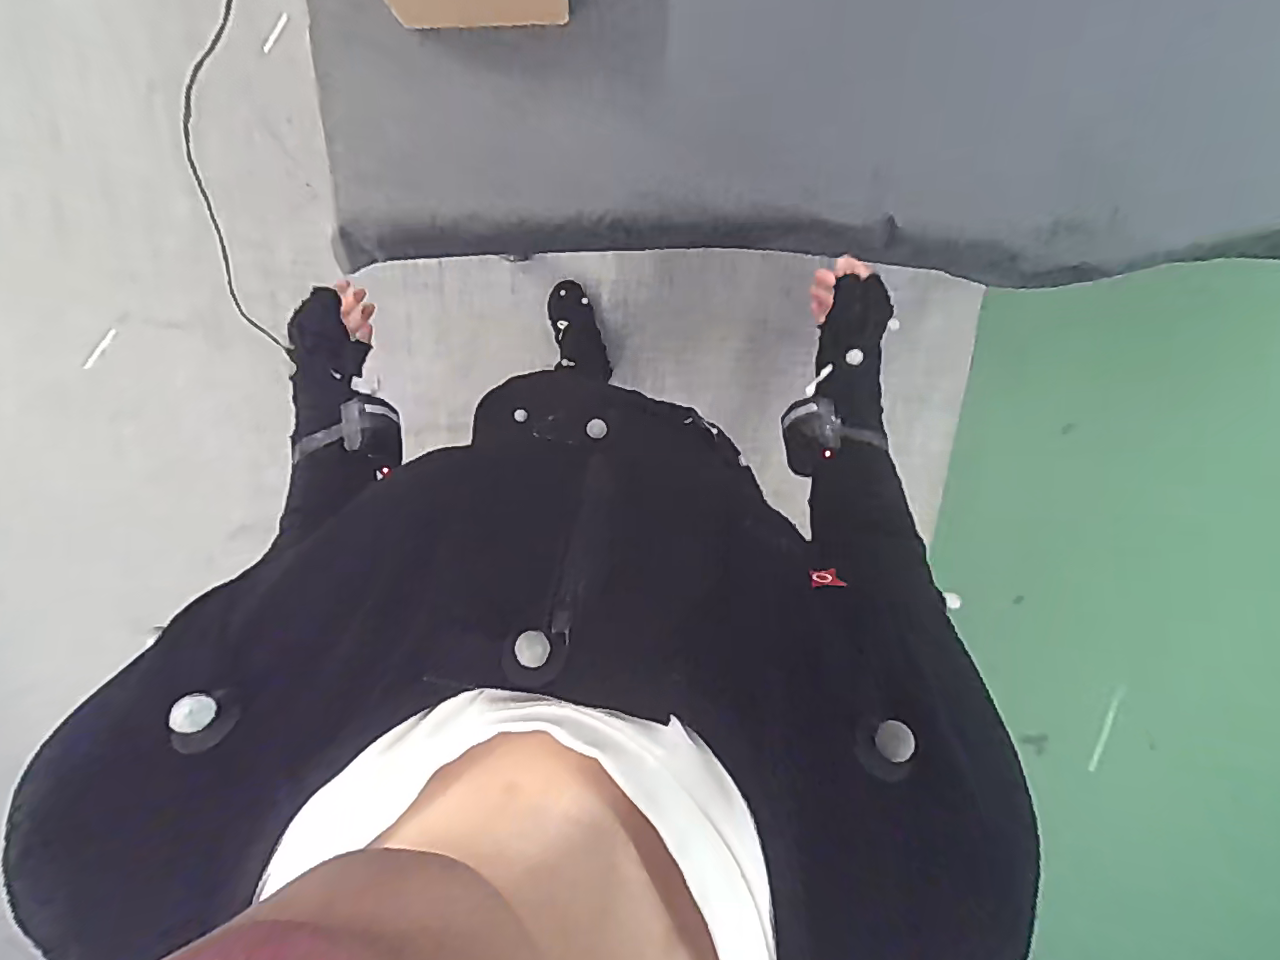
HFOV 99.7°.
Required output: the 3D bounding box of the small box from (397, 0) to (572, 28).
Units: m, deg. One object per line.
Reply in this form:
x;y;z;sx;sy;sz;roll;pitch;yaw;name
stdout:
-0.161;-0.540;0.480;0.179;0.176;0.168;-2;106;0;small box
